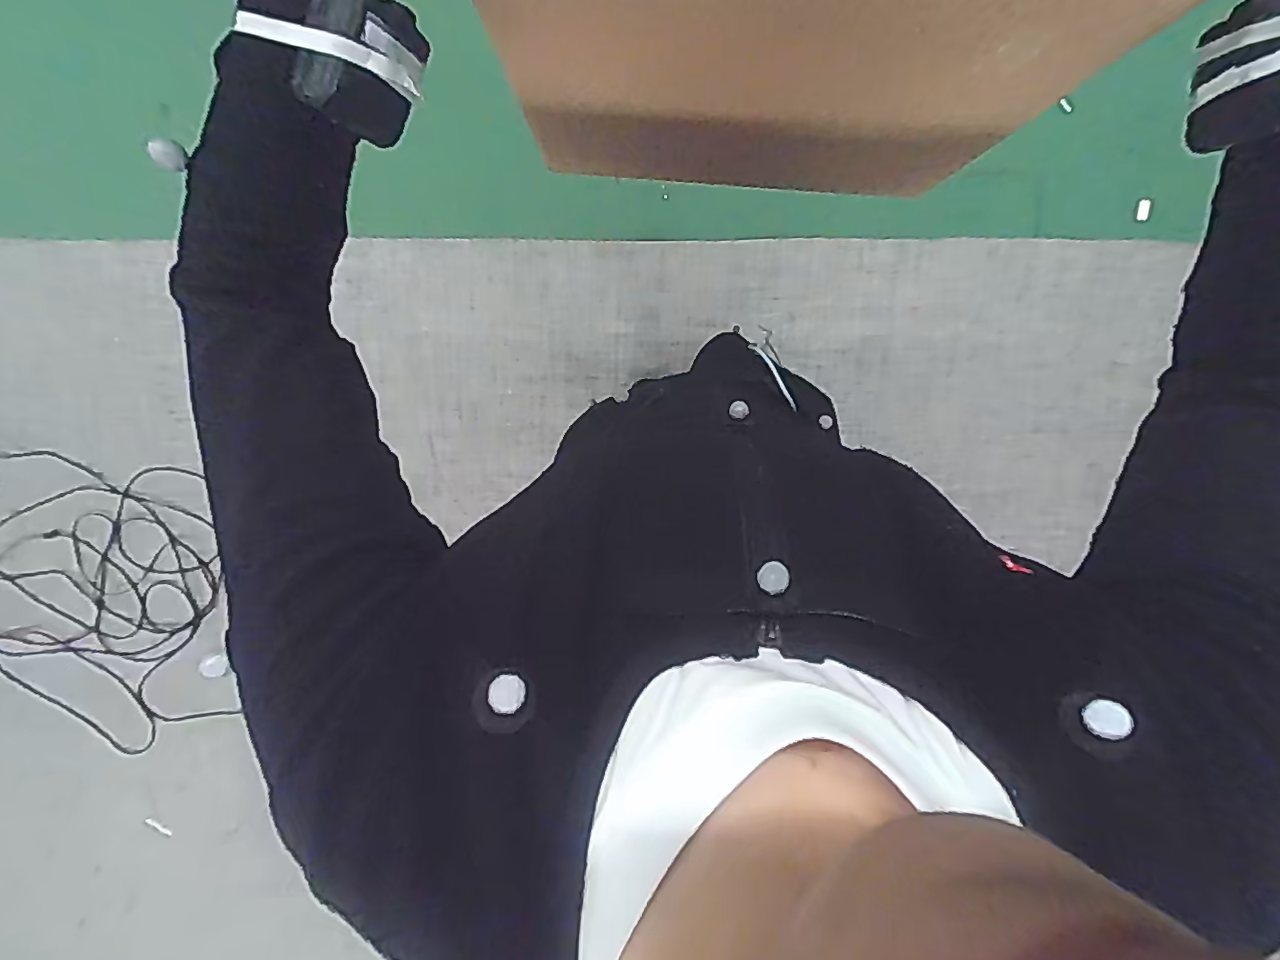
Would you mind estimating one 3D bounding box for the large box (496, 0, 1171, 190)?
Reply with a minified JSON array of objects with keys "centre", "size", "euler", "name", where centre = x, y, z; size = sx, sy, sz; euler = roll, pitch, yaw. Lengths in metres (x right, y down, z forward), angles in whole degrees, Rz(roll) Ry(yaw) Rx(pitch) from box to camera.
[{"centre":[0.110,-0.446,0.414],"size":[0.408,0.320,0.320],"euler":[3,100,-1],"name":"large box"}]
